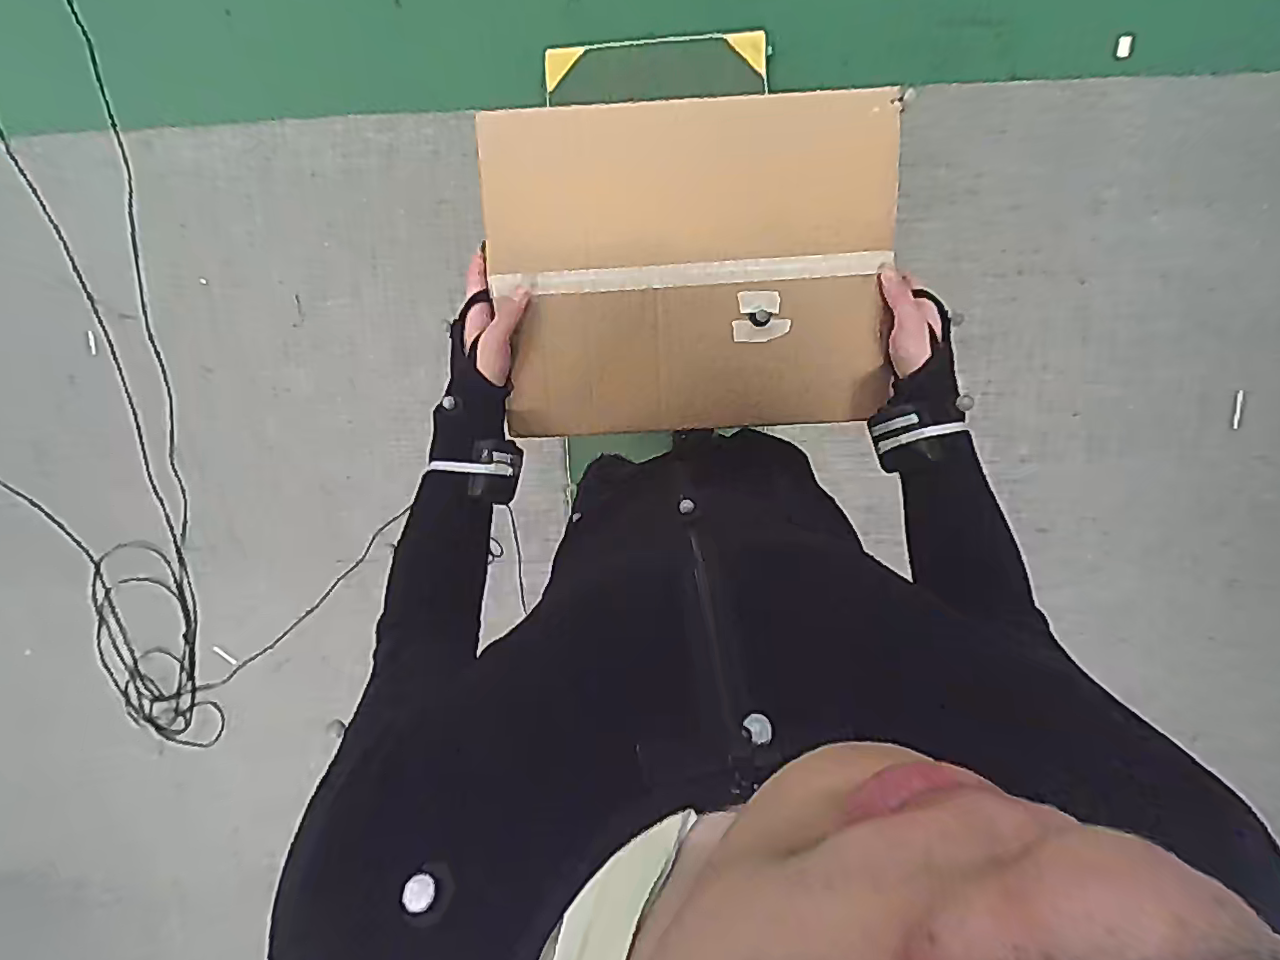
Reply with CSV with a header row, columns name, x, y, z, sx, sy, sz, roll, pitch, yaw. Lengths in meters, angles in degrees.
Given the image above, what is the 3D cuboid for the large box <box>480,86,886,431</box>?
name,x,y,z,sx,sy,sz,roll,pitch,yaw
large box,0.048,-0.246,0.698,0.408,0.320,0.320,-4,102,0
